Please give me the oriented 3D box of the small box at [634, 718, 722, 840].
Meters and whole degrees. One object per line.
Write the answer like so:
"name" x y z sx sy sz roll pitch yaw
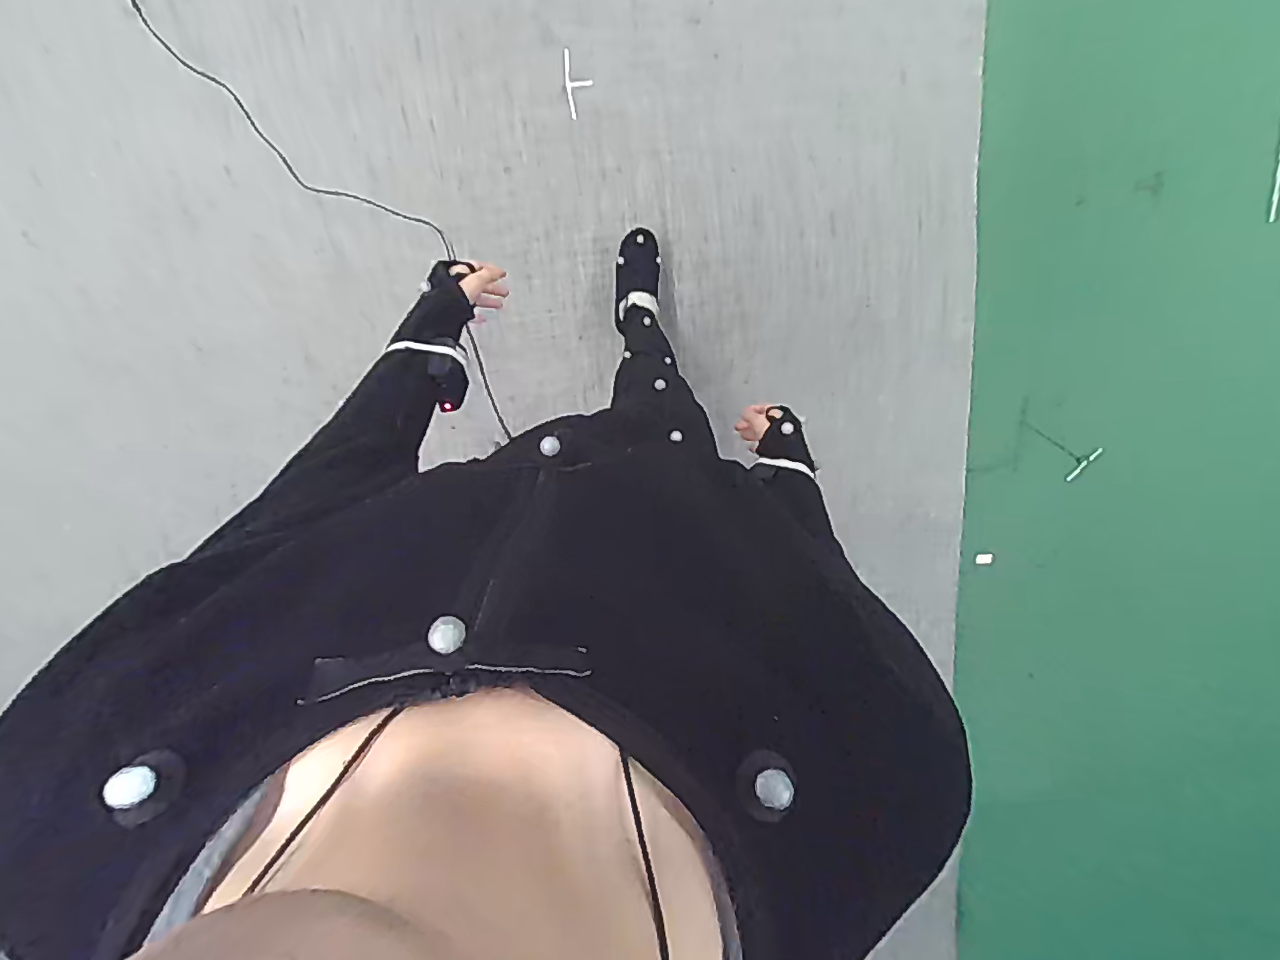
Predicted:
"small box" 0.082 0.682 1.249 0.179 0.176 0.168 -10 105 0
